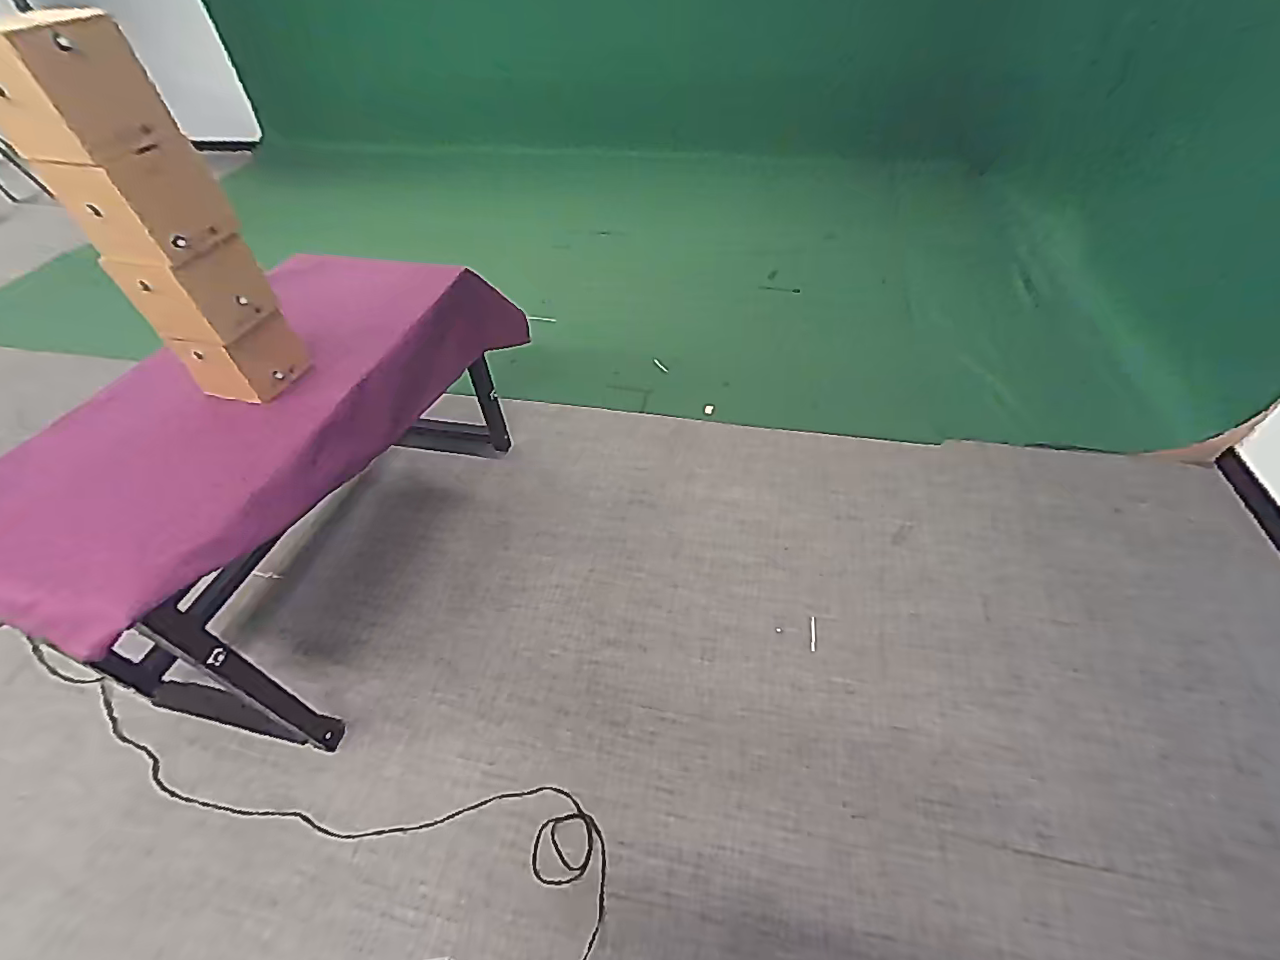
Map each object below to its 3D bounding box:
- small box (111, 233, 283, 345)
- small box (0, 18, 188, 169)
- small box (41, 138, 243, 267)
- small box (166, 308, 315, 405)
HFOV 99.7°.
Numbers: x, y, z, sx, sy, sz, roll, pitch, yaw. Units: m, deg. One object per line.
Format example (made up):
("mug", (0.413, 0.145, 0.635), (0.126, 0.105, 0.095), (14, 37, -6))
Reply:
("small box", (-0.895, -0.397, 1.112), (0.179, 0.176, 0.168), (10, 50, 12))
("small box", (-0.905, -0.620, 0.872), (0.179, 0.176, 0.168), (11, 50, 14))
("small box", (-0.893, -0.509, 0.992), (0.179, 0.176, 0.168), (10, 49, 14))
("small box", (-0.902, -0.292, 1.238), (0.179, 0.176, 0.168), (12, 50, 13))
